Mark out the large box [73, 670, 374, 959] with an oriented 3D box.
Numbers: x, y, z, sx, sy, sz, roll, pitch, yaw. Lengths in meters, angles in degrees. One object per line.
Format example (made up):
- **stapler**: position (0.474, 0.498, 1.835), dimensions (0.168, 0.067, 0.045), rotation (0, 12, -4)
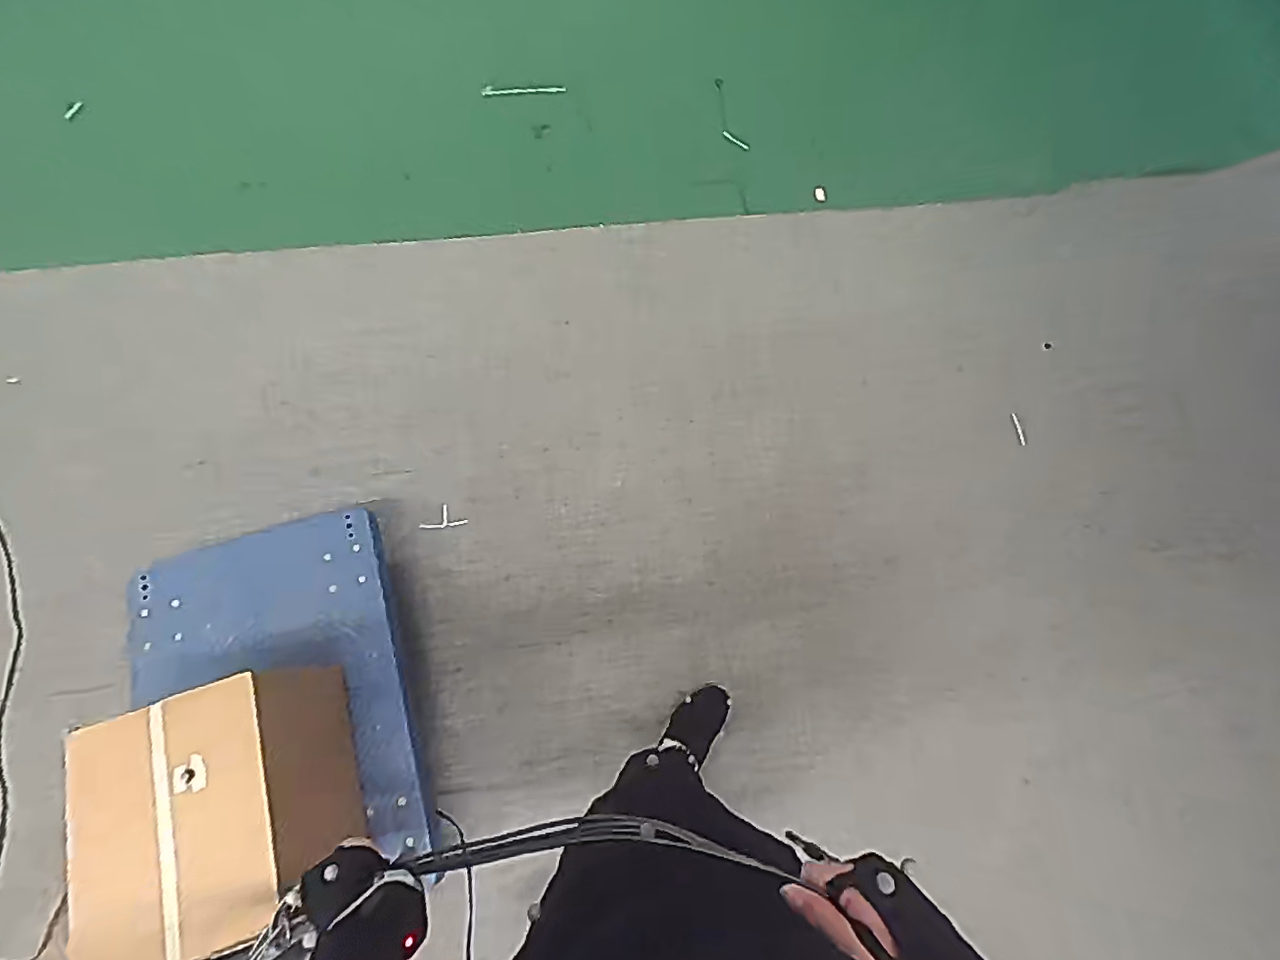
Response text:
- **large box**: position (-0.754, 0.609, 1.016), dimensions (0.320, 0.320, 0.408), rotation (-18, 72, -7)
